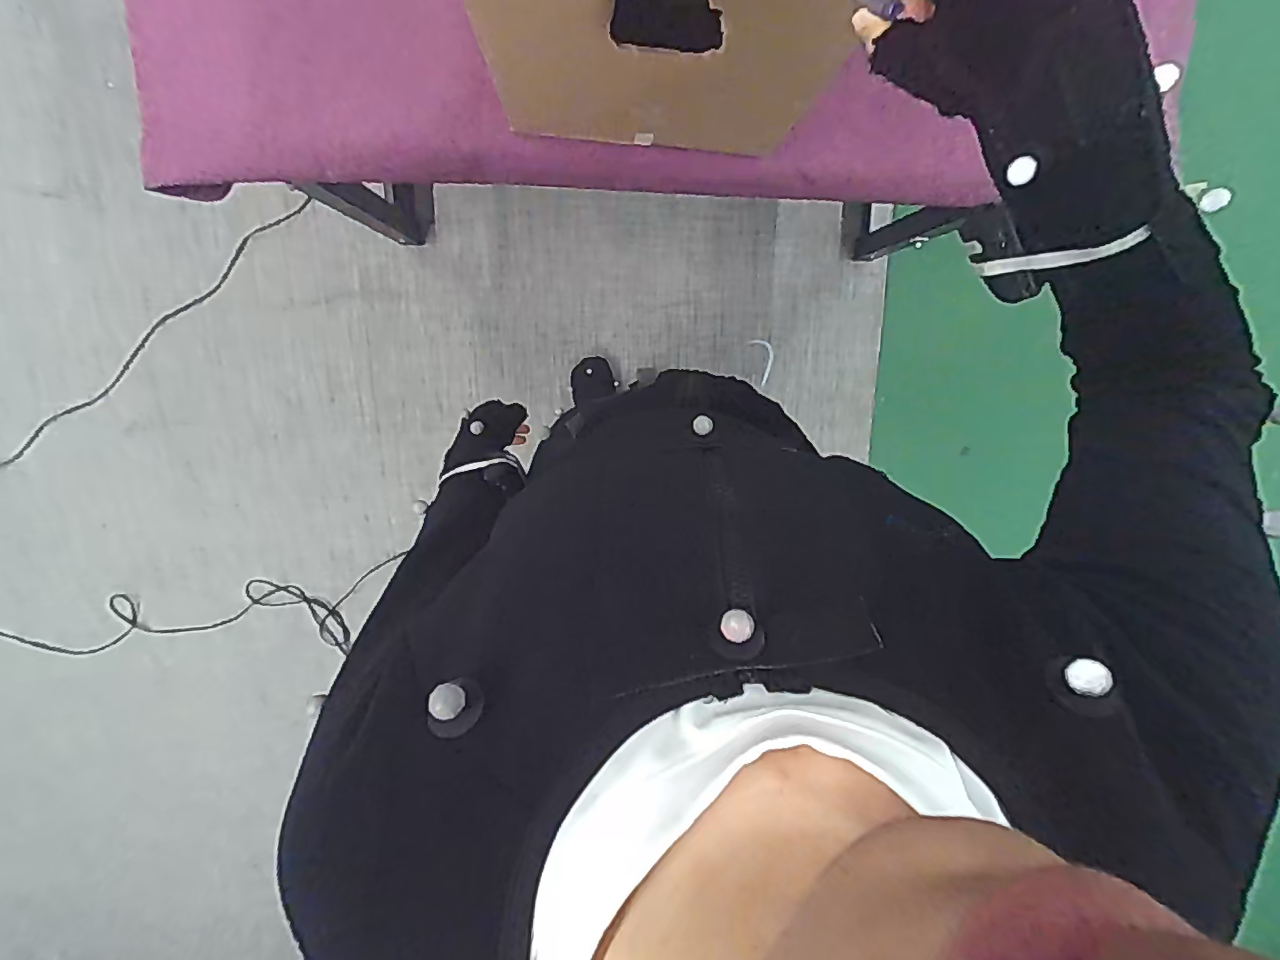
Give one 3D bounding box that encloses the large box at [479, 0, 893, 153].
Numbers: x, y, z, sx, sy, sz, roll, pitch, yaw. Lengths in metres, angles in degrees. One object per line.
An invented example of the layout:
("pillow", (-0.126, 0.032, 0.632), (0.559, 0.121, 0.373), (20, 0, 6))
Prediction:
("large box", (0.027, -0.572, 0.472), (0.320, 0.320, 0.408), (3, 103, -4))
